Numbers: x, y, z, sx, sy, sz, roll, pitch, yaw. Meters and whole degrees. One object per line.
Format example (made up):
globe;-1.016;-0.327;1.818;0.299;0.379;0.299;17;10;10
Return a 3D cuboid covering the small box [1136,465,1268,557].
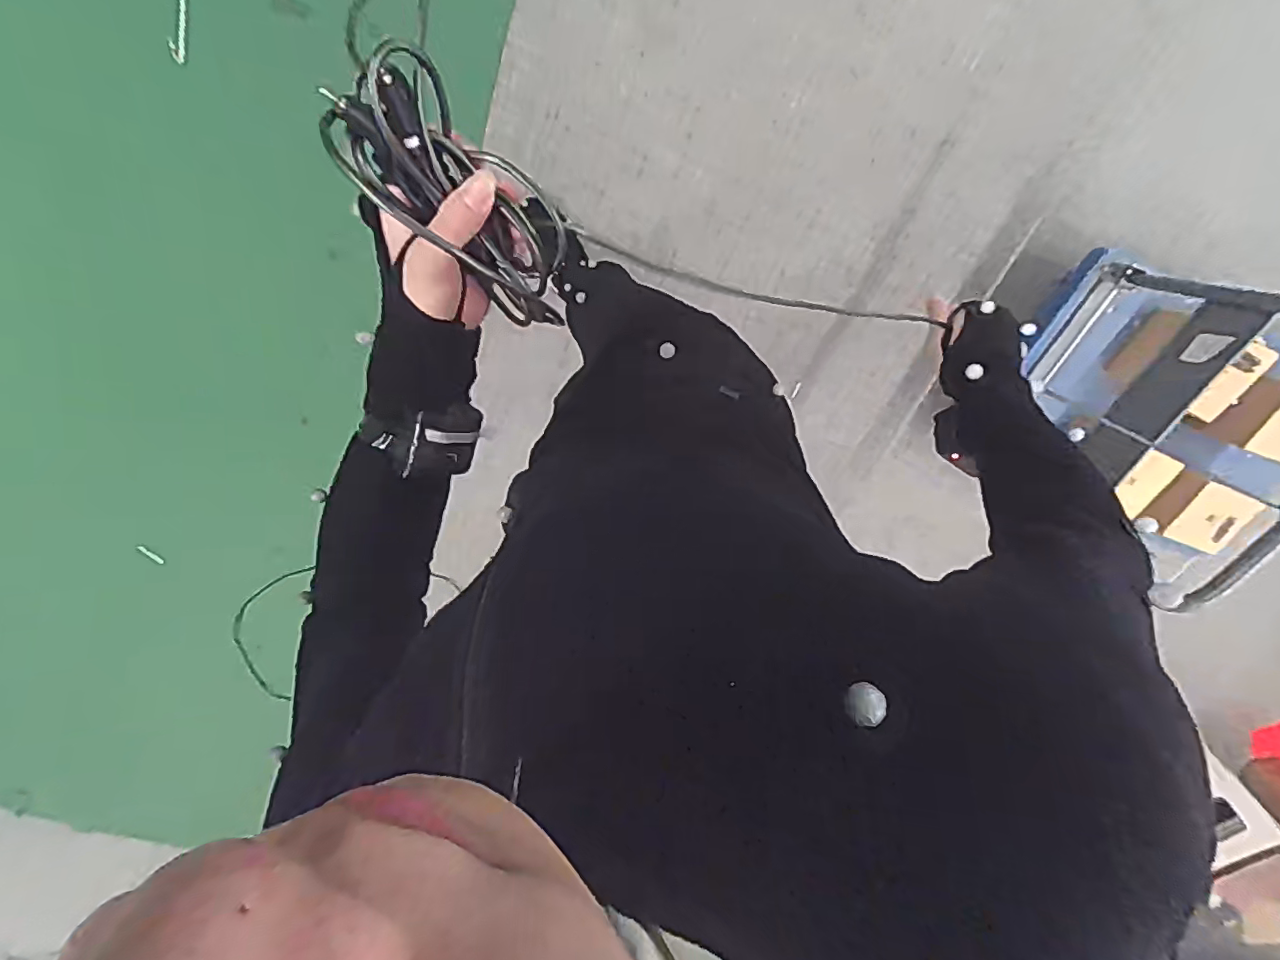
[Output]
small box;1.417;0.067;1.401;0.179;0.176;0.168;19;115;-7

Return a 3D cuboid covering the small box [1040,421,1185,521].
small box;1.174;-0.029;1.358;0.179;0.176;0.168;21;115;-9

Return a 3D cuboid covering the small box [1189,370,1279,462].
small box;1.502;-0.149;1.292;0.179;0.176;0.168;16;116;-8
